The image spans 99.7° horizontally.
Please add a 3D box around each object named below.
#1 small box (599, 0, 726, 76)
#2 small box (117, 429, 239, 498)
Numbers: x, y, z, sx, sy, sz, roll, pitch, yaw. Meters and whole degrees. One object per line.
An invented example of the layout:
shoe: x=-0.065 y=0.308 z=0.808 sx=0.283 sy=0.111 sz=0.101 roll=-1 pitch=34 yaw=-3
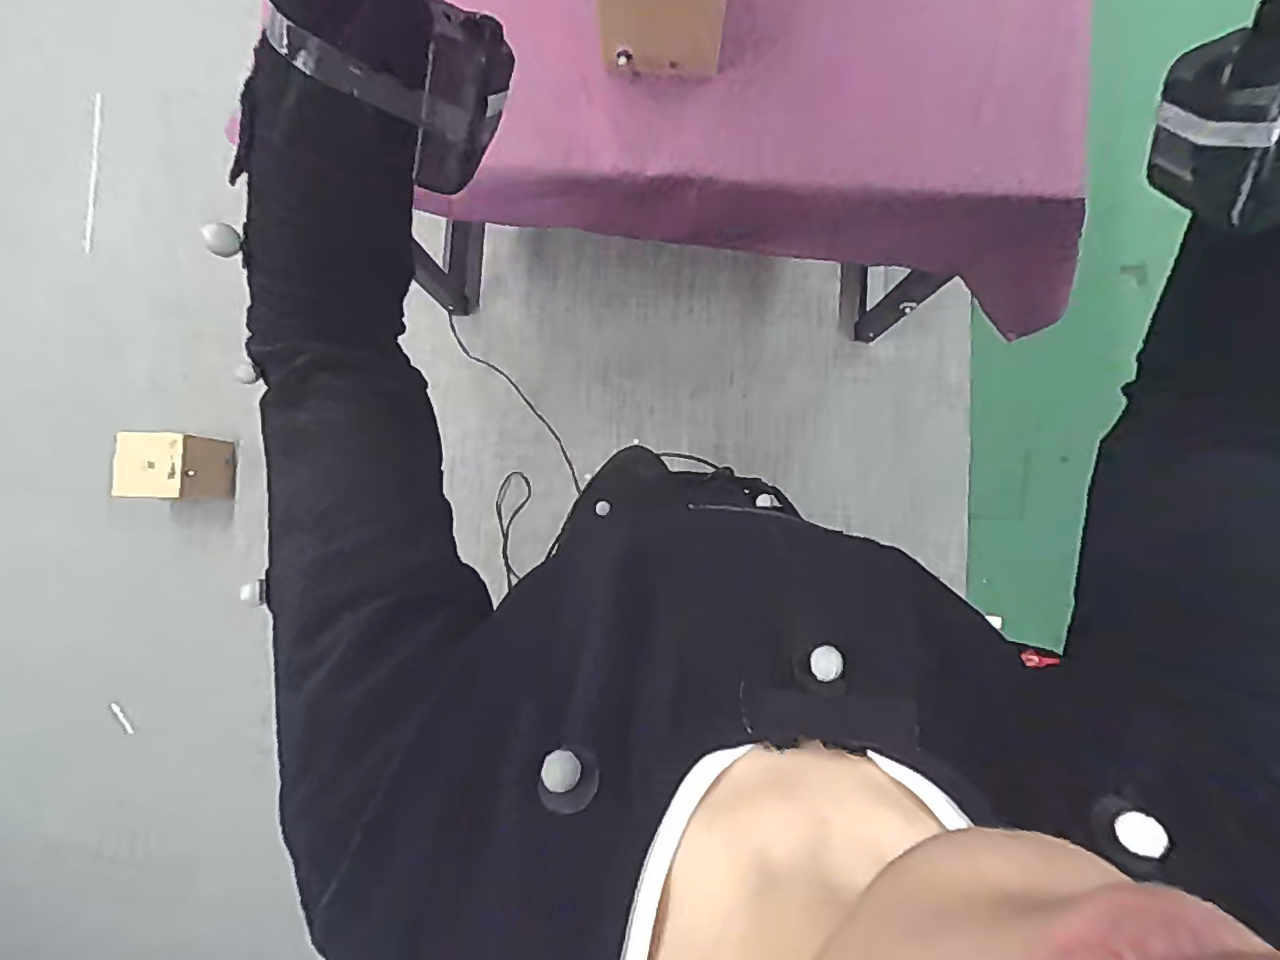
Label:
small box: x=0.037 y=-0.683 z=0.719 sx=0.168 sy=0.176 sz=0.179 roll=5 pitch=86 yaw=2
small box: x=-1.226 y=-0.039 z=1.443 sx=0.179 sy=0.176 sz=0.168 roll=2 pitch=87 yaw=2
